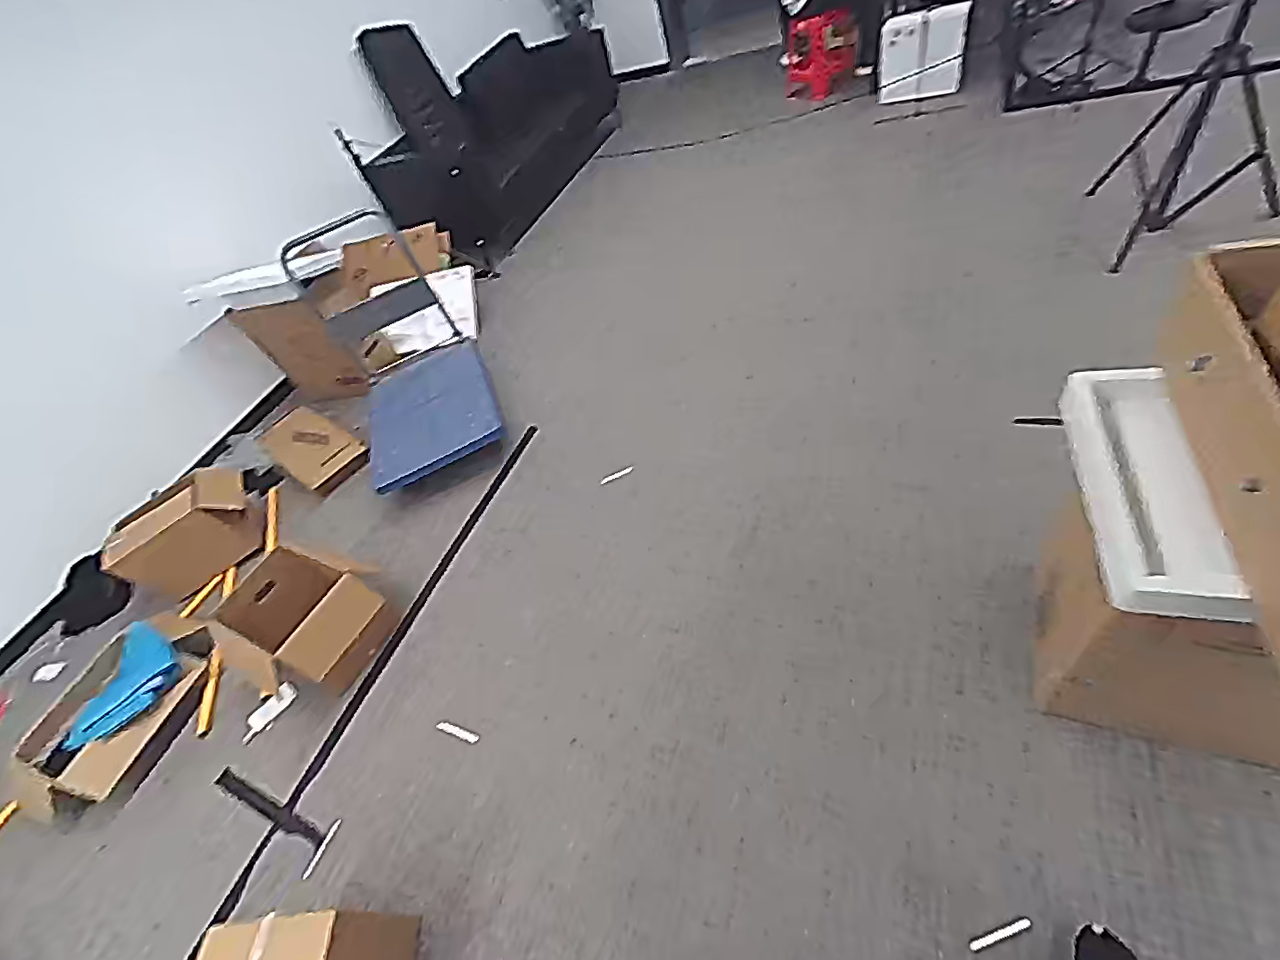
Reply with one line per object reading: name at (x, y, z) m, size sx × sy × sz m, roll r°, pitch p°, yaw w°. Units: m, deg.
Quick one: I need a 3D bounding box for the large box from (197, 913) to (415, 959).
large box at (-0.702, 1.151, 1.087) m, size 0.320 × 0.320 × 0.408 m, roll -15°, pitch 48°, yaw 9°
